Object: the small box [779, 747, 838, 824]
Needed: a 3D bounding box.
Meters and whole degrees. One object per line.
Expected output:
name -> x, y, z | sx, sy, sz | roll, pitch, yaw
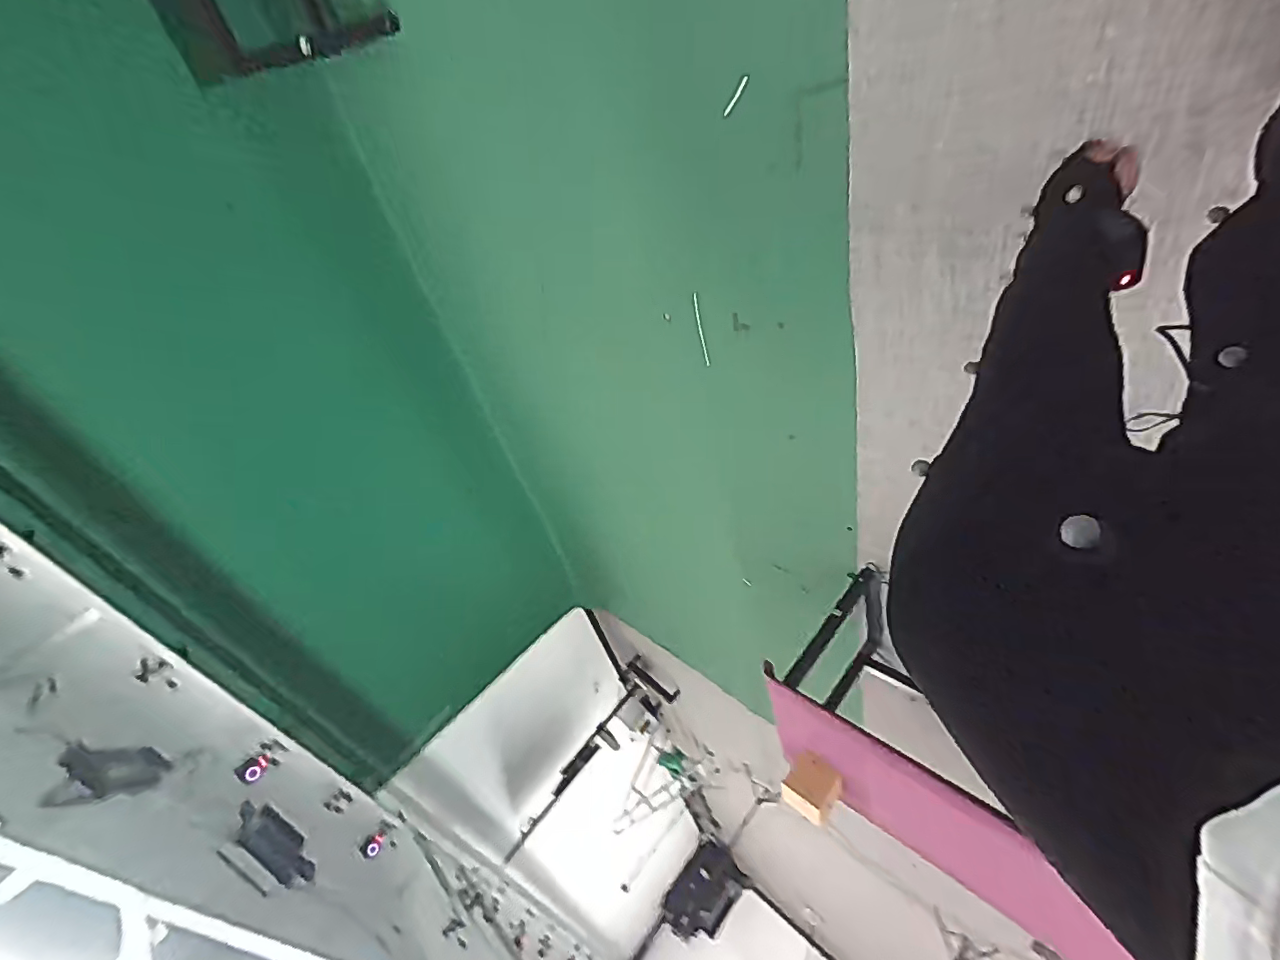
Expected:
small box -> 0.676, 1.213, 2.155 | 0.168, 0.176, 0.179 | 22, 143, 39
